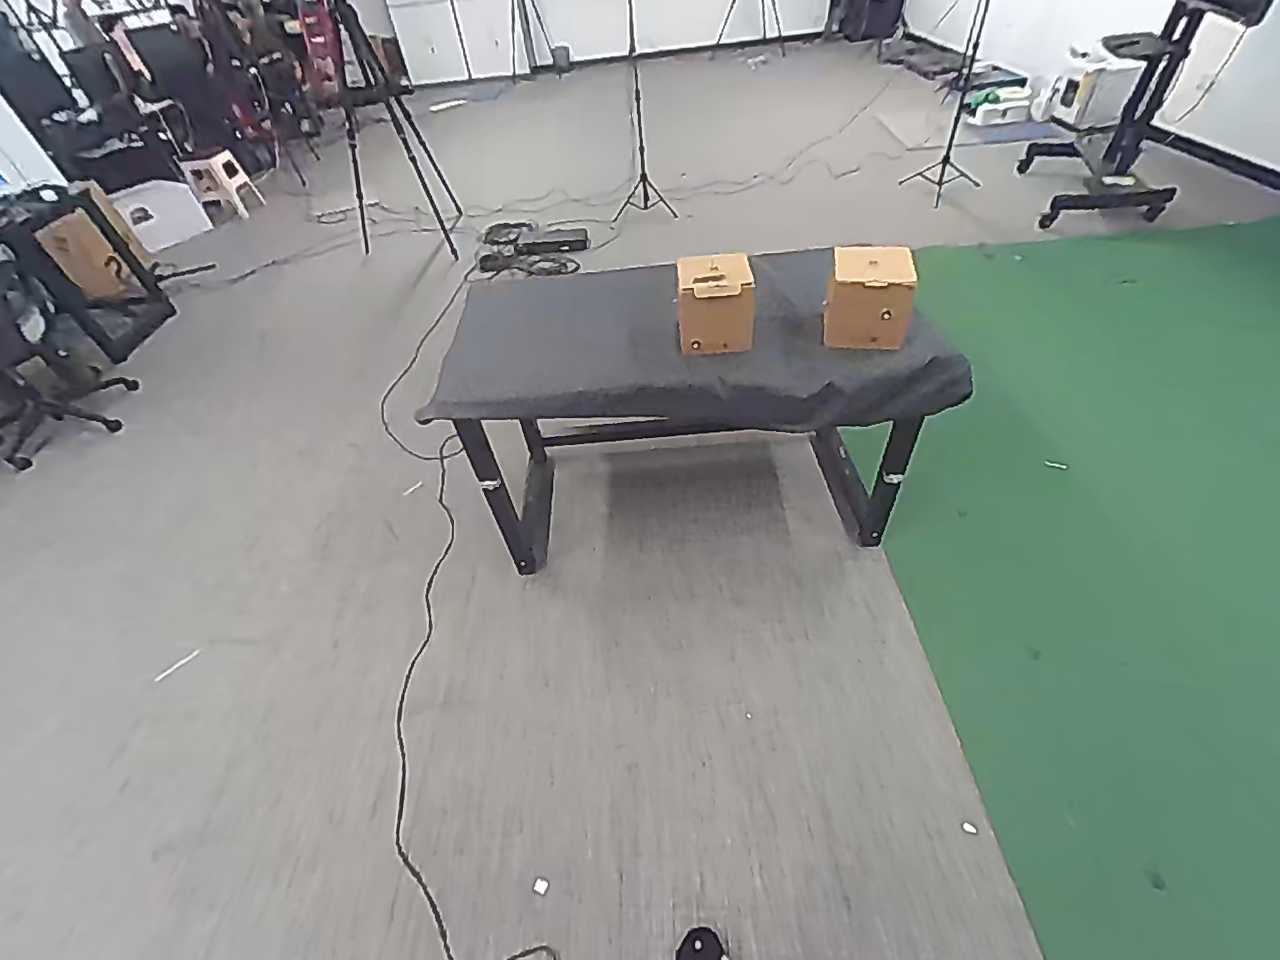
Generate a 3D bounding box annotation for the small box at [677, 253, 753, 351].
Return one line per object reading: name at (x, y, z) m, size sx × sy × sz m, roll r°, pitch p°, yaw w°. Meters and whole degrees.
small box at (0.177, -0.422, 1.300) m, size 0.168 × 0.176 × 0.179 m, roll -3°, pitch 45°, yaw 4°

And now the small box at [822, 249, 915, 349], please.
small box at (0.522, -0.420, 1.256) m, size 0.168 × 0.176 × 0.179 m, roll 6°, pitch 45°, yaw 12°
